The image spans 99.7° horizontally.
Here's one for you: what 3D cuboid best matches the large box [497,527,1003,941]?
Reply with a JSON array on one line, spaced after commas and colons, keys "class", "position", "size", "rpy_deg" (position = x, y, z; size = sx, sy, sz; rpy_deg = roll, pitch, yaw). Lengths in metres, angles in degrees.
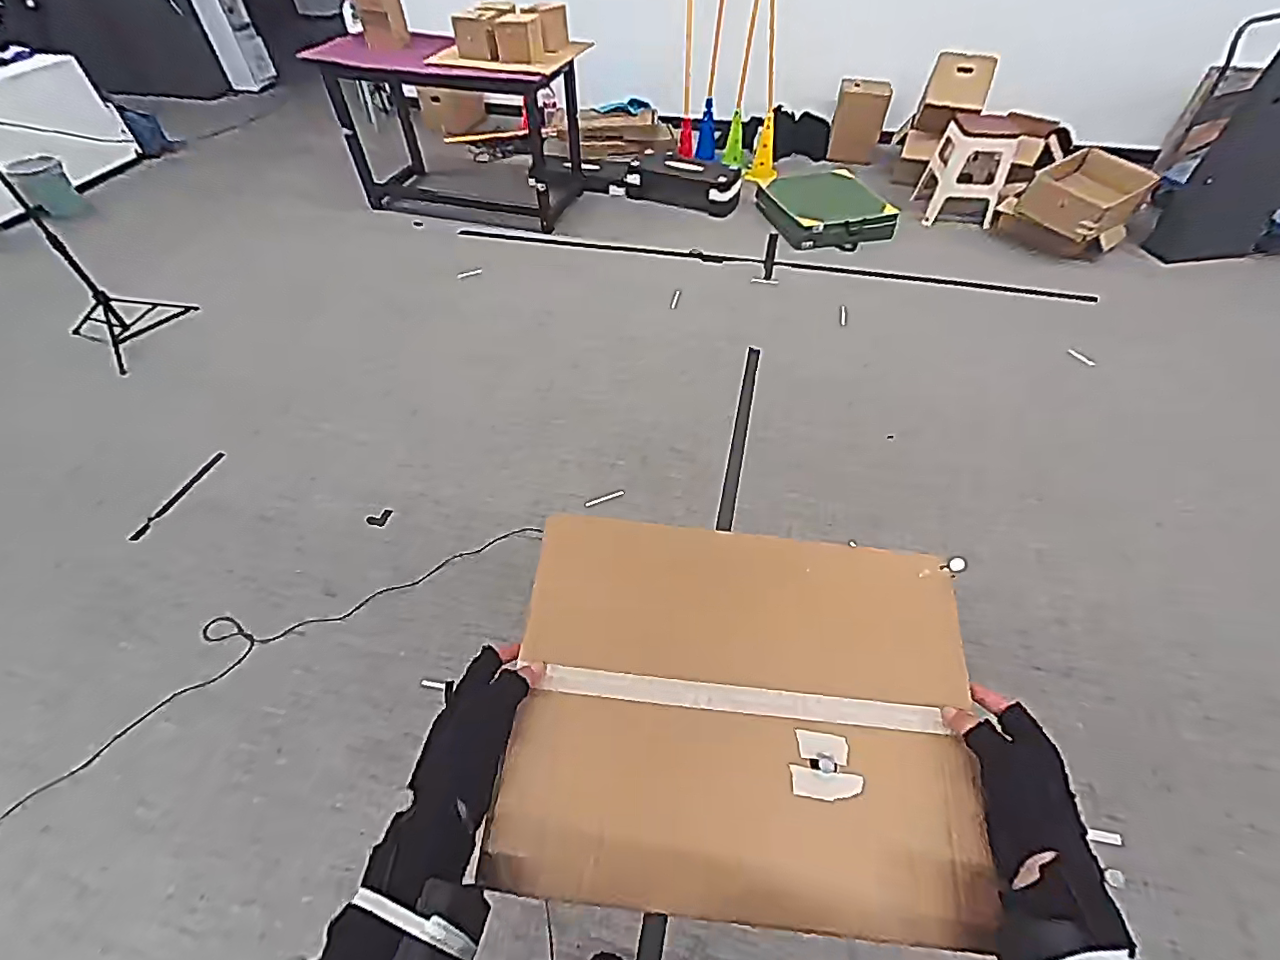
[{"class": "large box", "position": [0.090, 0.270, 0.616], "size": [0.408, 0.320, 0.320], "rpy_deg": [6, 63, 1]}]
